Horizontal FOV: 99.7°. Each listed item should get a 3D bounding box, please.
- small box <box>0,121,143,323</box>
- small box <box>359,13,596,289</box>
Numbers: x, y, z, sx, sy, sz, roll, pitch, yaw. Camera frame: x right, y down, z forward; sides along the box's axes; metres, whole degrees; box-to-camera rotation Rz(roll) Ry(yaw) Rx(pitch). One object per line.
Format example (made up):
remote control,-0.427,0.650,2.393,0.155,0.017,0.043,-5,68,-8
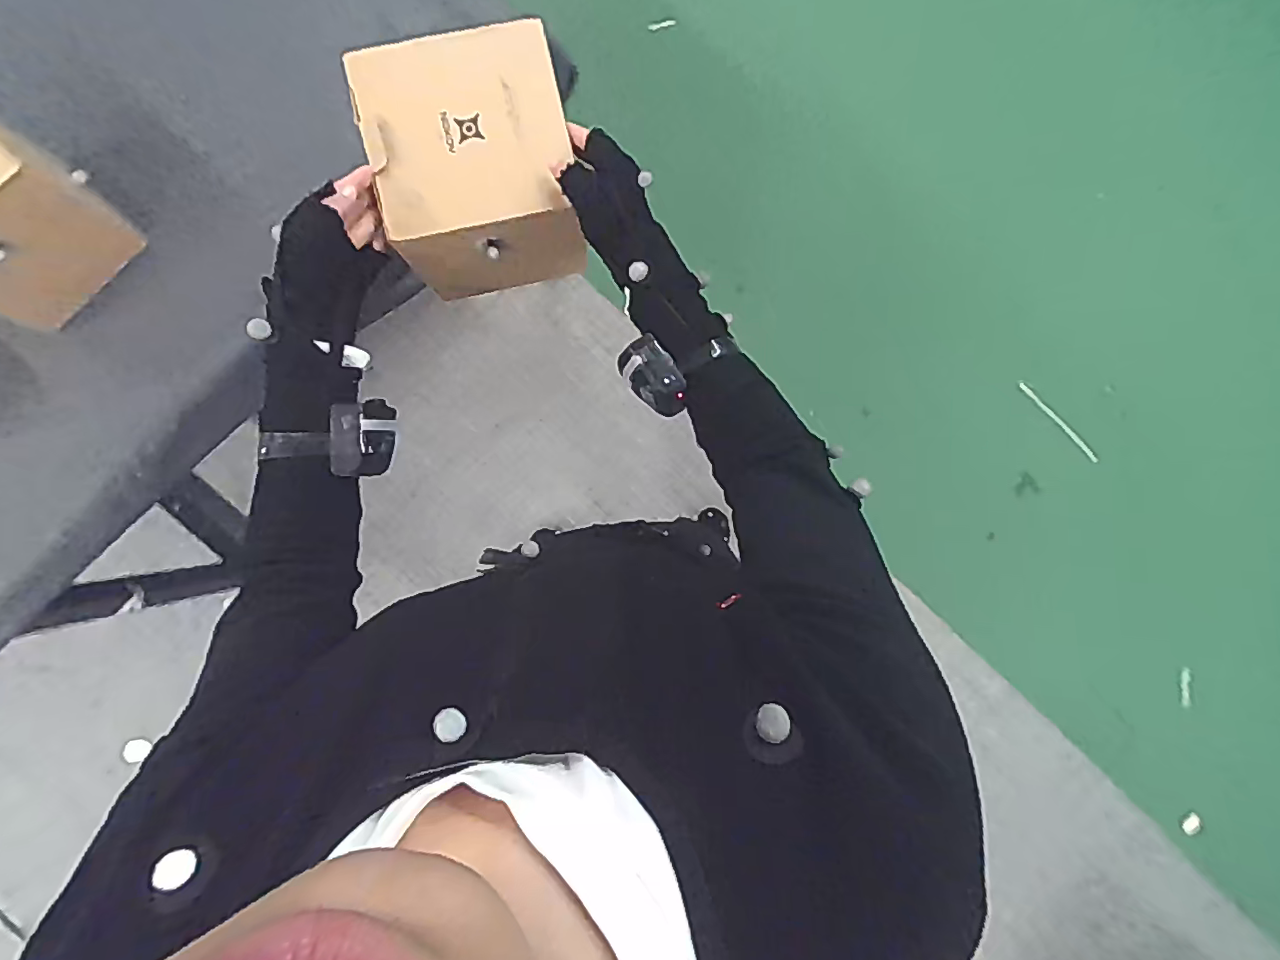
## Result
small box,-0.782,-0.323,0.654,0.168,0.176,0.179,42,85,-1
small box,-0.146,-0.310,0.548,0.179,0.176,0.168,-14,93,-5
